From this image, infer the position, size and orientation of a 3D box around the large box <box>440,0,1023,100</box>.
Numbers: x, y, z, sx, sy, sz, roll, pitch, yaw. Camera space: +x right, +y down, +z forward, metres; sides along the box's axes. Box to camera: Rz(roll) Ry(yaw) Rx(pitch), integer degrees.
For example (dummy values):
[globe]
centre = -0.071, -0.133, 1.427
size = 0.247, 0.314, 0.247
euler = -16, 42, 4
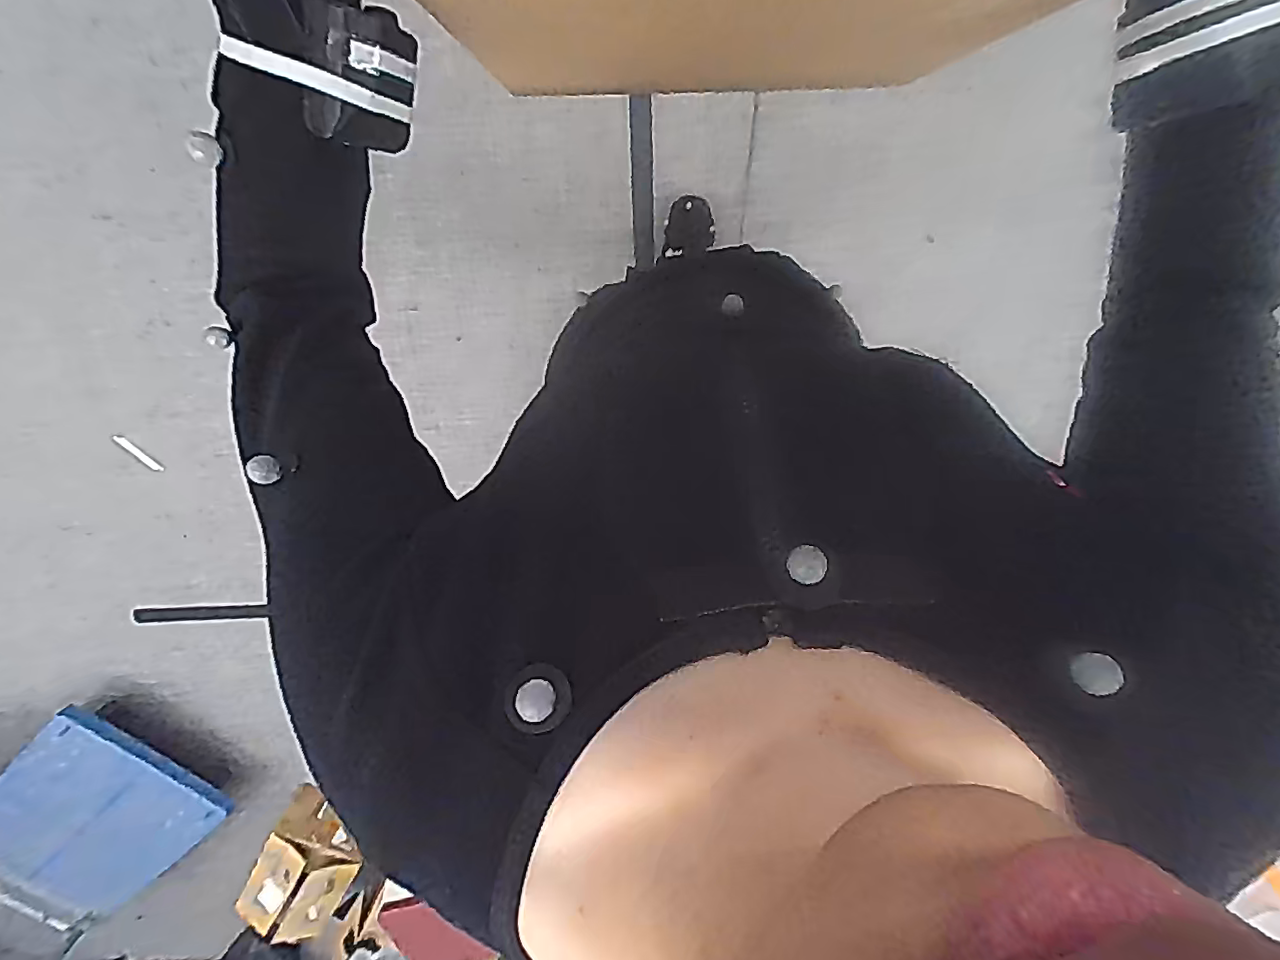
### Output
[large box]
centre = 0.063, -0.478, 0.358
size = 0.408, 0.320, 0.320
euler = -2, 116, 0
